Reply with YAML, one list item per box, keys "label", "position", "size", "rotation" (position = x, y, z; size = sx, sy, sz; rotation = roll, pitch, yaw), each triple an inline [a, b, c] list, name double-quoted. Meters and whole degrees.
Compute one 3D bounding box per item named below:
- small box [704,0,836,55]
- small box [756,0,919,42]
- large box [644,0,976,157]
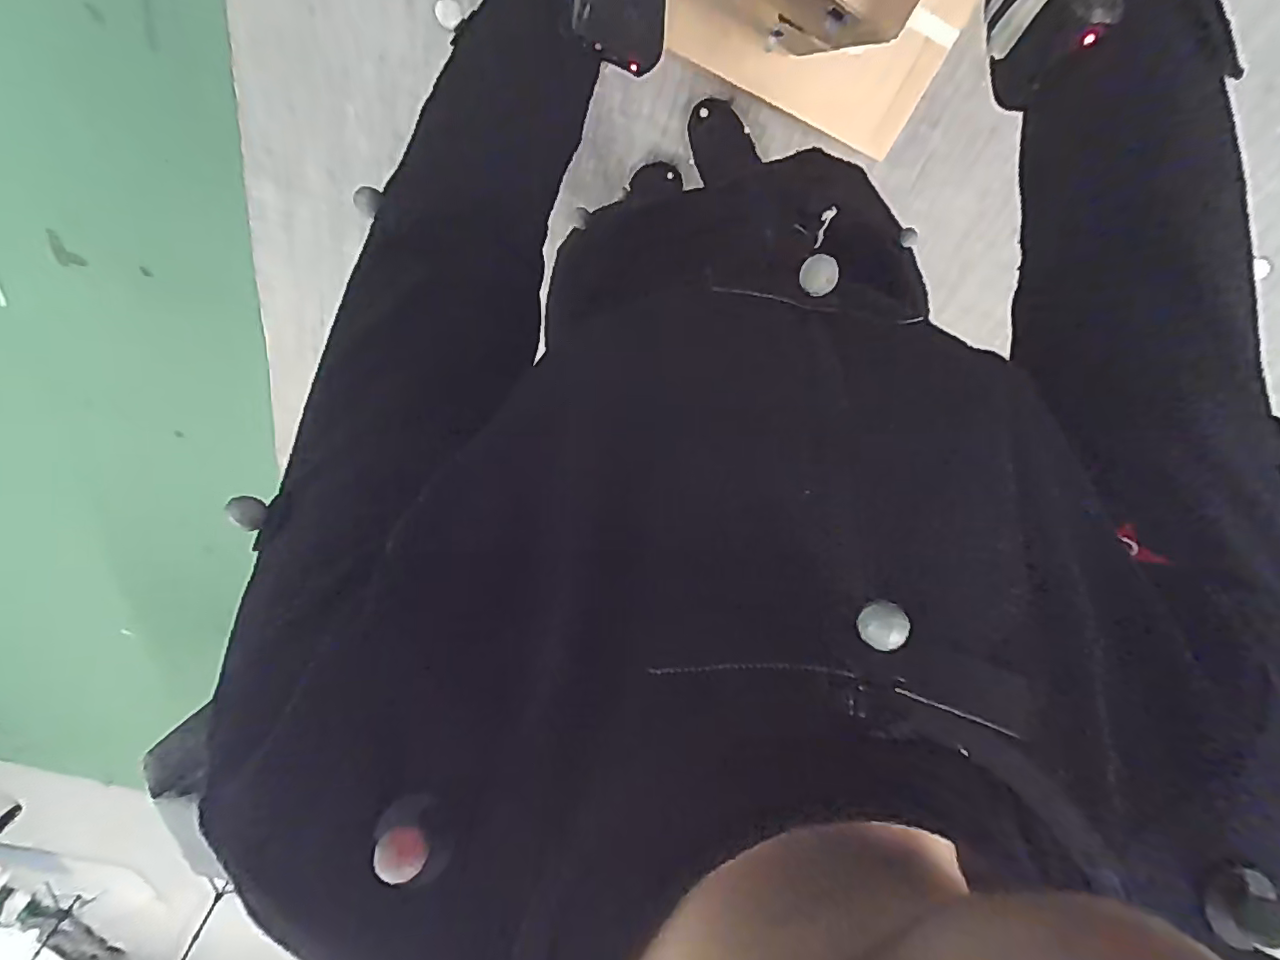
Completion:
- label: "small box"
  position: [0.137, -0.522, 0.488]
  size: [0.168, 0.176, 0.179]
  rotation: [21, 124, -14]
- label: "small box"
  position: [0.129, -0.426, 0.358]
  size: [0.179, 0.176, 0.168]
  rotation: [22, 125, -15]
- label: "large box"
  position: [0.245, -0.750, 0.816]
  size: [0.408, 0.320, 0.320]
  rotation: [19, 127, -11]
